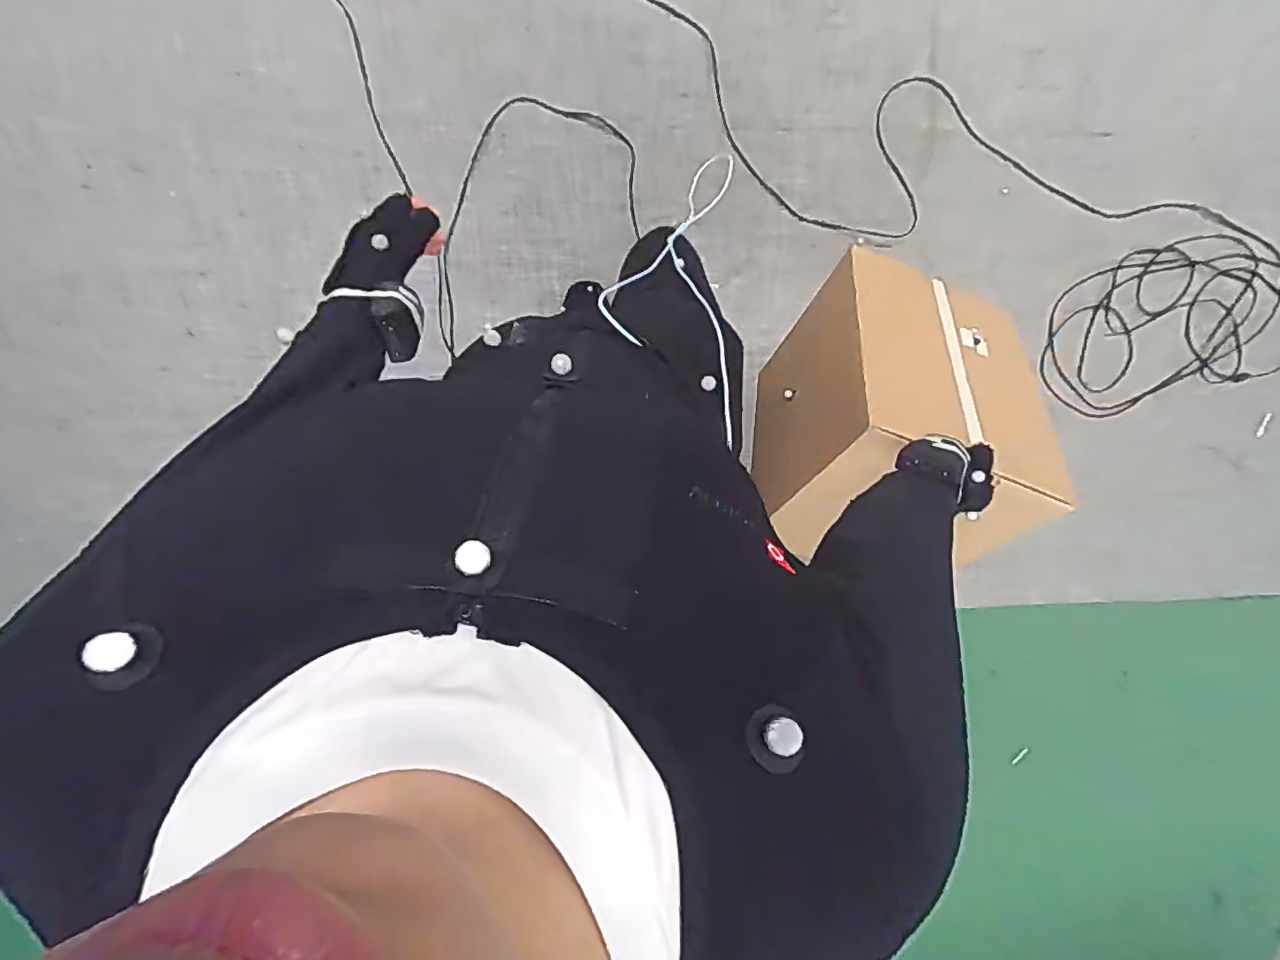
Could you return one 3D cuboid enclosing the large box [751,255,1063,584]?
[{"bbox_3d":[0.400,-0.090,0.919,0.320,0.408,0.320,20,143,-10],"label":"large box"}]
